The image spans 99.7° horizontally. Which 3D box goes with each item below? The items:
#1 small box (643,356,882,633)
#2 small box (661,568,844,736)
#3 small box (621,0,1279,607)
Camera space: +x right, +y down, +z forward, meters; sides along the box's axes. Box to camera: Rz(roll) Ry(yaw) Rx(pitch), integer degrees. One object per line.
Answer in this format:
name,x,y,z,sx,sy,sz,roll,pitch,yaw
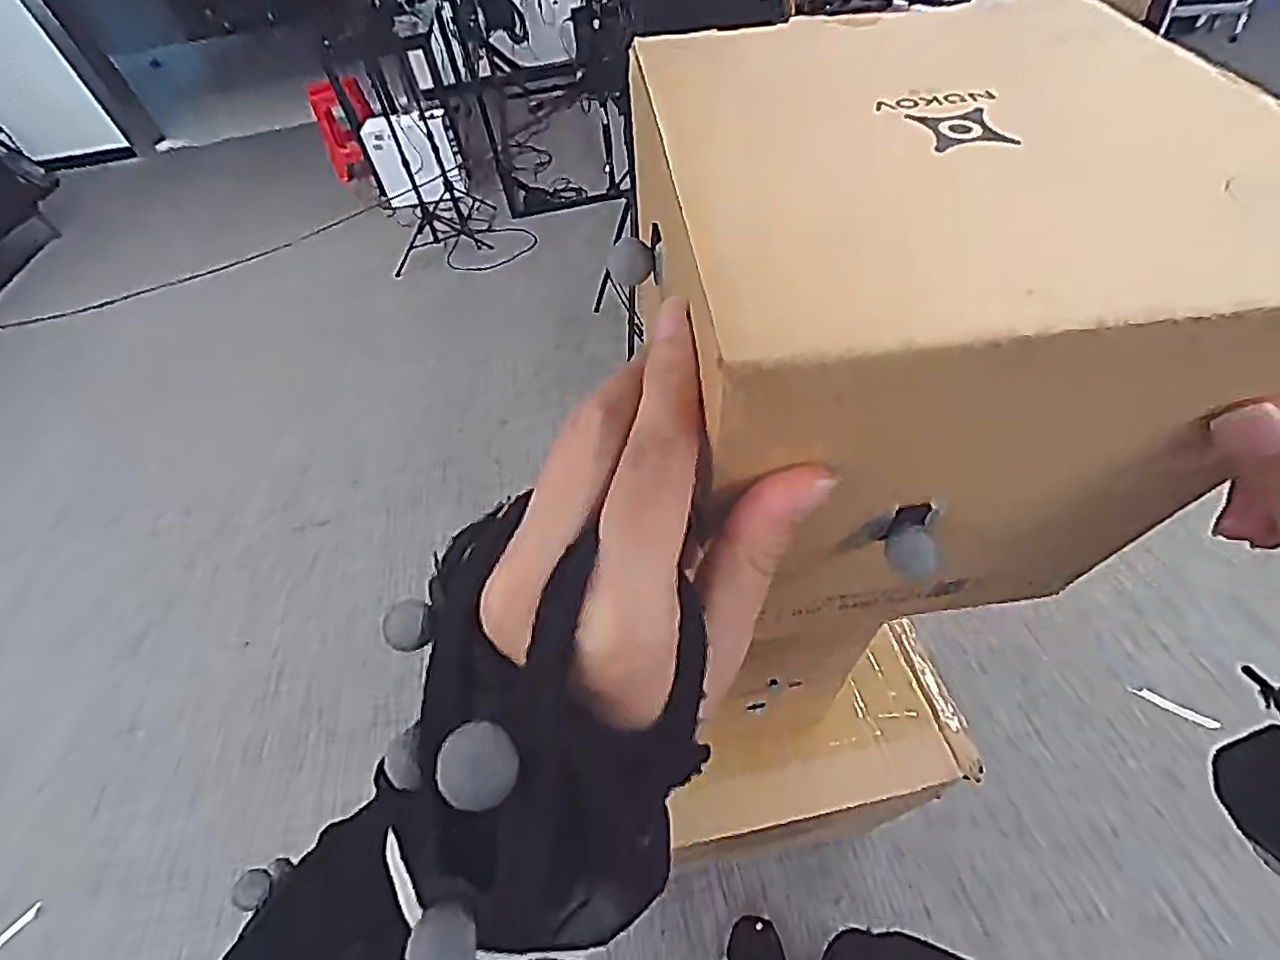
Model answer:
small box,0.105,0.002,0.429,0.179,0.176,0.168,-11,52,-2
small box,0.131,0.207,0.685,0.179,0.176,0.168,-11,51,-2
small box,0.088,-0.059,0.223,0.168,0.176,0.179,-8,55,-1
